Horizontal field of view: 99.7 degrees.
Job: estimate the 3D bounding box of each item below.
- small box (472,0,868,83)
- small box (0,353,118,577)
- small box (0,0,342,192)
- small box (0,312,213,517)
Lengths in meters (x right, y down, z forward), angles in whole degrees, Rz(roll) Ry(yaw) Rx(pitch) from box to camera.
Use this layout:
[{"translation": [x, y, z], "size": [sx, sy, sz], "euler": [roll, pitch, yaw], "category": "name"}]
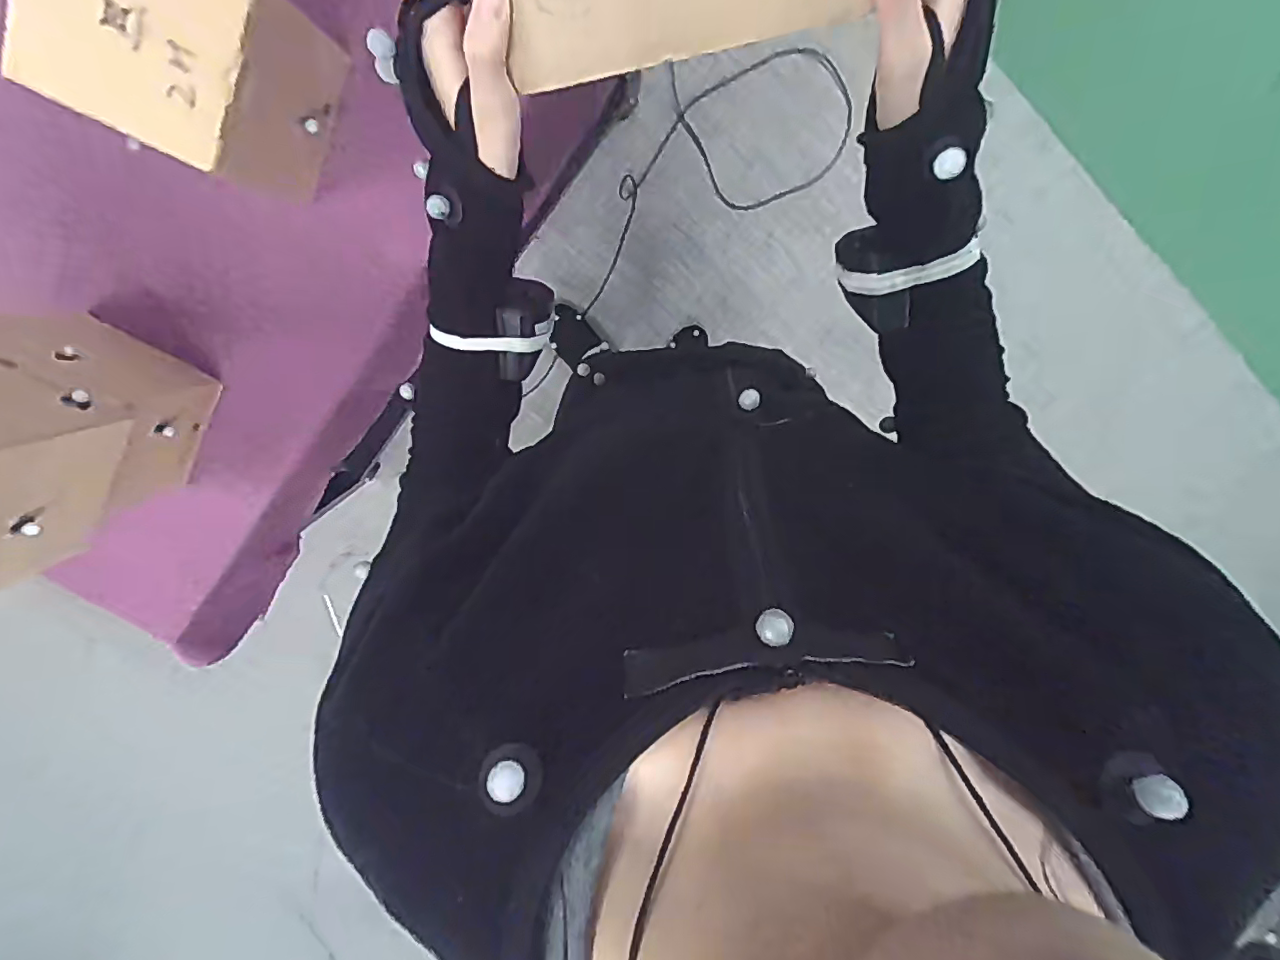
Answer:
[{"translation": [0.007, -0.311, 0.233], "size": [0.179, 0.176, 0.168], "euler": [-3, 146, 10], "category": "small box"}, {"translation": [-0.627, -0.016, 0.475], "size": [0.168, 0.176, 0.179], "euler": [30, 104, -12], "category": "small box"}, {"translation": [-0.434, -0.408, 0.524], "size": [0.179, 0.176, 0.168], "euler": [25, 106, -10], "category": "small box"}, {"translation": [-0.654, -0.082, 0.624], "size": [0.179, 0.176, 0.168], "euler": [31, 103, -11], "category": "small box"}]
